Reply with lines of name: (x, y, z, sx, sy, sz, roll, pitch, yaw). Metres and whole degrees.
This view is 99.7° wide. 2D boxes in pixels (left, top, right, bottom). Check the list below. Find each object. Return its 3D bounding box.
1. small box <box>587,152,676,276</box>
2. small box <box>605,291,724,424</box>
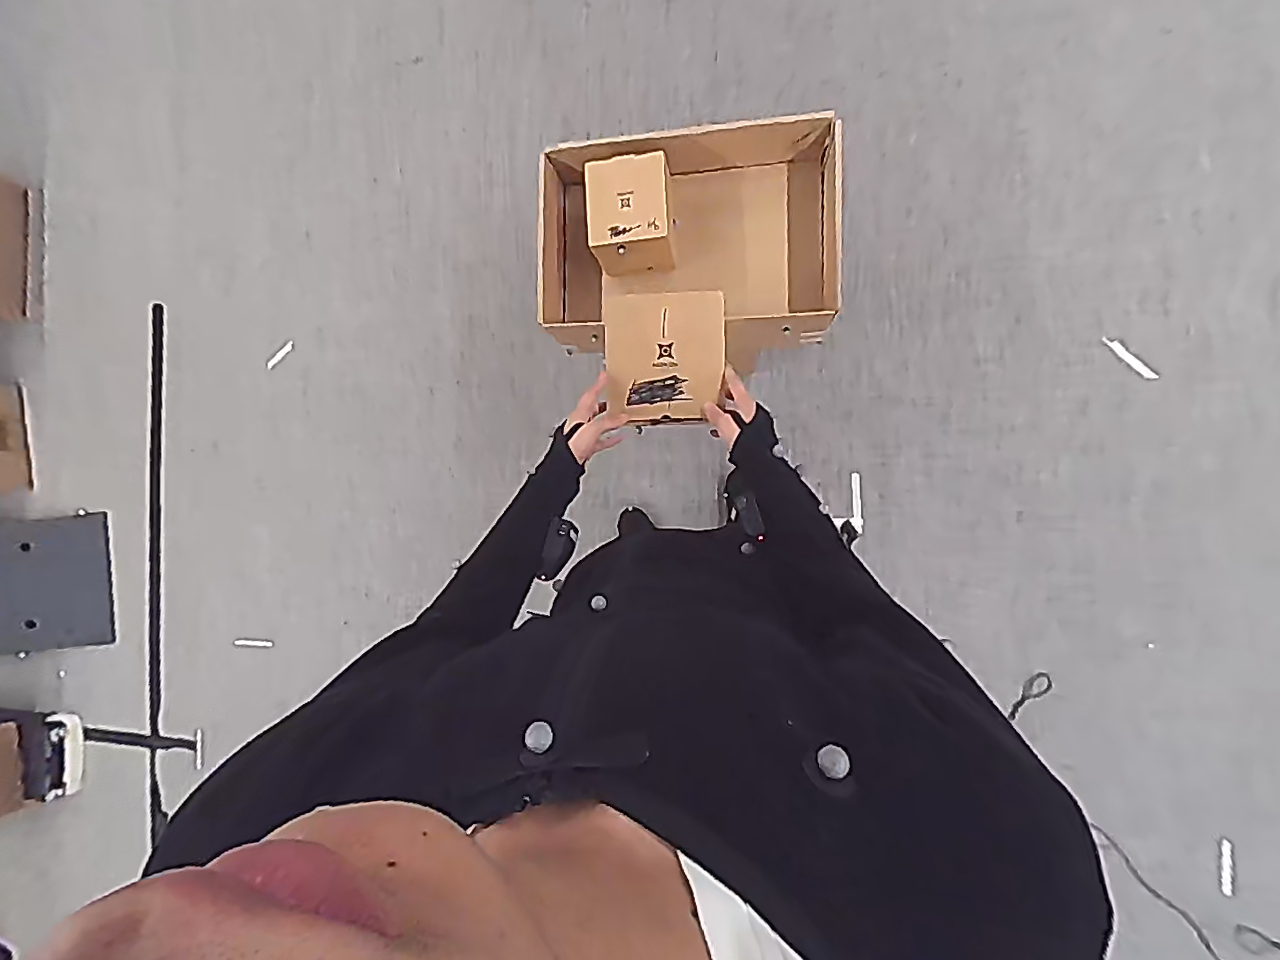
small box: (-0.014, -0.568, 1.171, 0.168, 0.176, 0.179, -3, 89, 11)
small box: (0.042, -0.175, 0.824, 0.168, 0.176, 0.179, -1, 93, 5)
